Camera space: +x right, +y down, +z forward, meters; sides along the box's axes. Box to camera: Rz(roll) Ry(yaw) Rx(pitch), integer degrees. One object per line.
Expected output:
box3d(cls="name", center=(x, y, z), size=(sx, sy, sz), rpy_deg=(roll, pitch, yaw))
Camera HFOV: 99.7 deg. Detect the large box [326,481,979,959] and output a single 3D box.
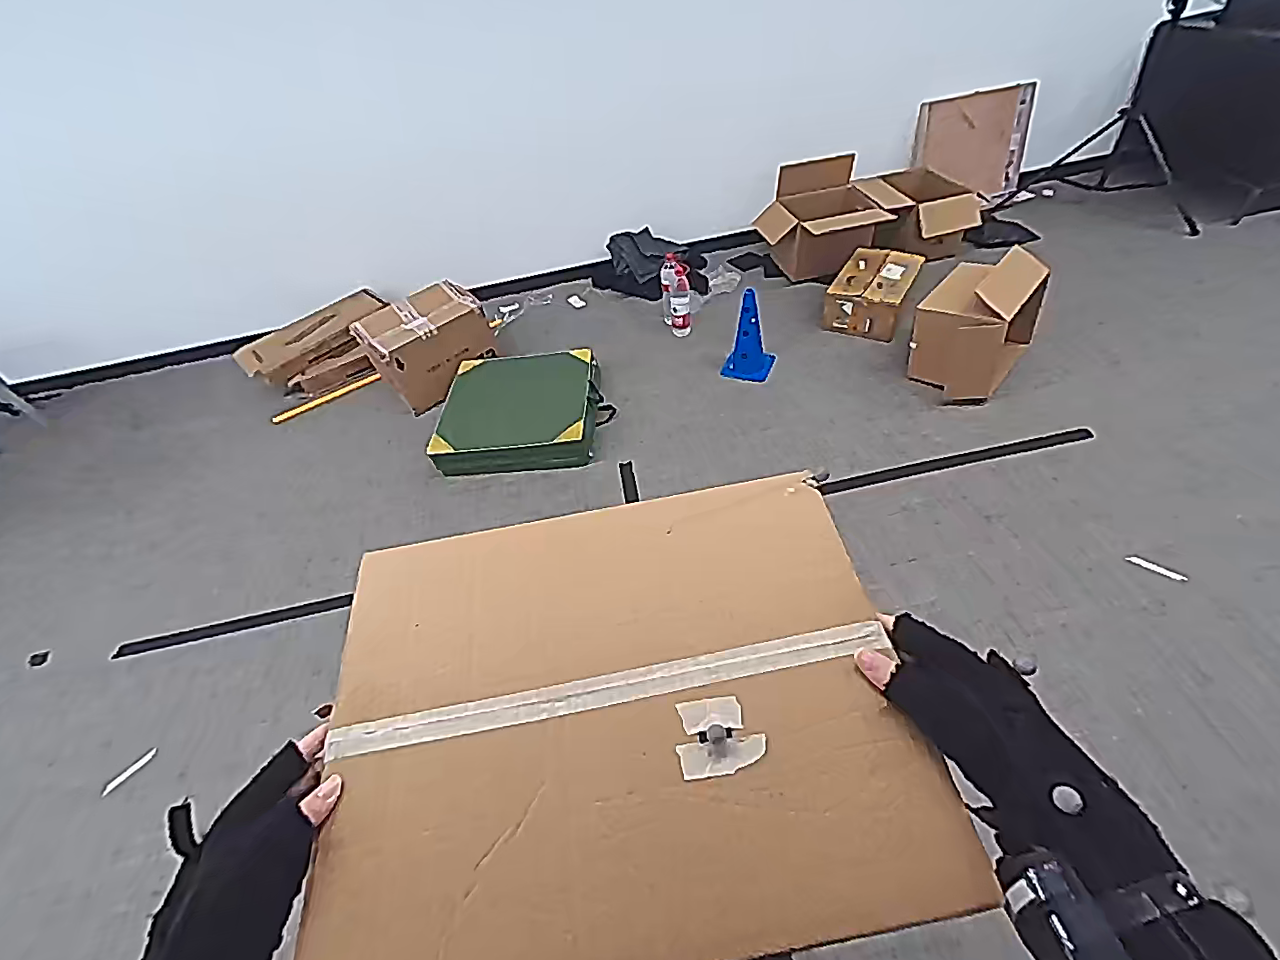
box3d(cls="large box", center=(-0.003, 0.246, 0.521), size=(0.408, 0.320, 0.320), rpy_deg=(-11, 53, -2))
